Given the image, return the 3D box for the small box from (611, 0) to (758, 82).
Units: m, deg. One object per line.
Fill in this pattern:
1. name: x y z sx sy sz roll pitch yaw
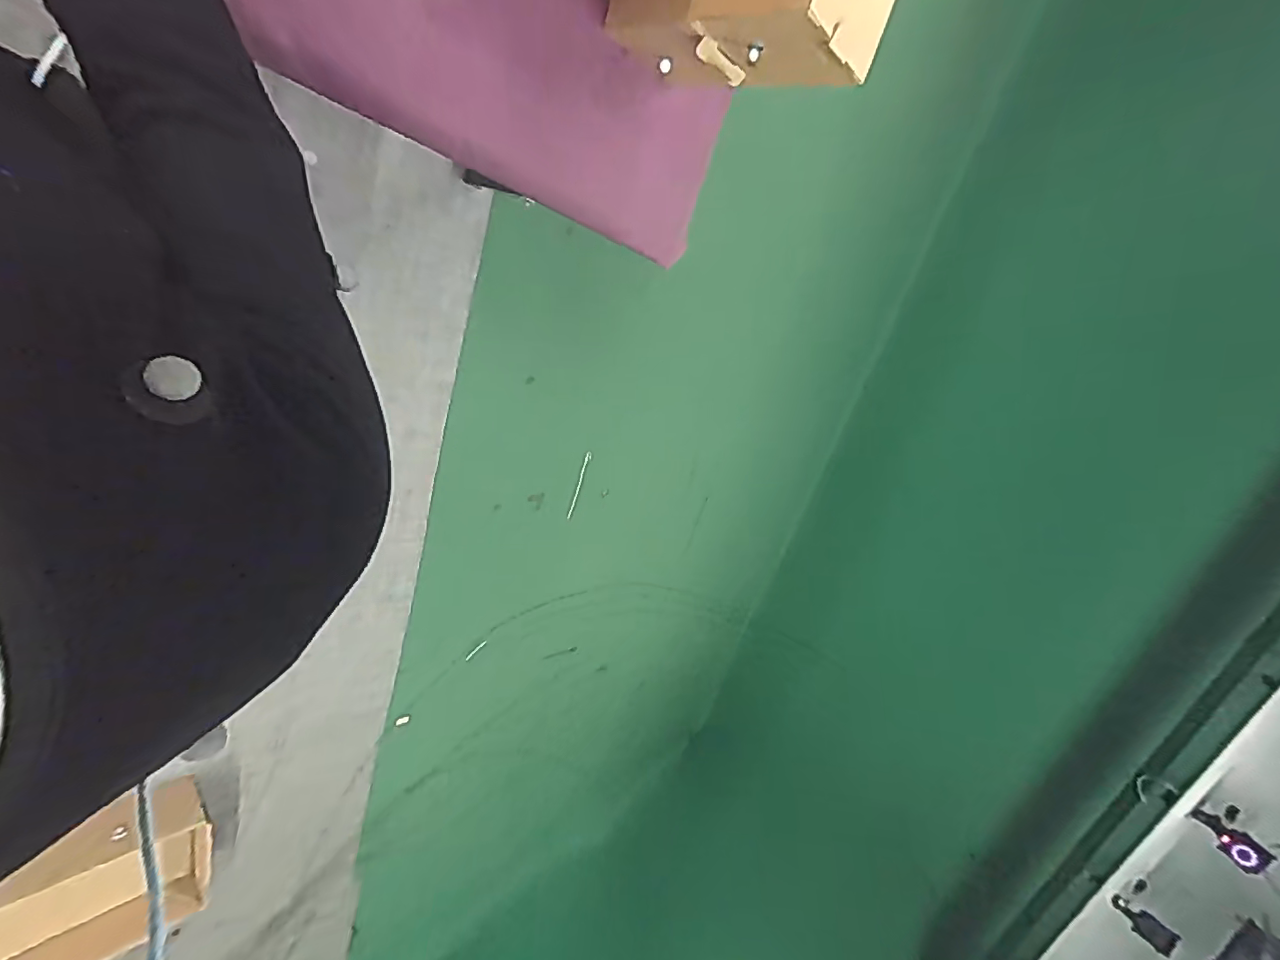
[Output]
1. small box: 0.083 -0.686 0.743 0.168 0.176 0.179 -6 121 -47

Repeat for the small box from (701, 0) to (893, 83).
1. small box: 0.199 -0.618 0.651 0.168 0.176 0.179 -6 122 -48
